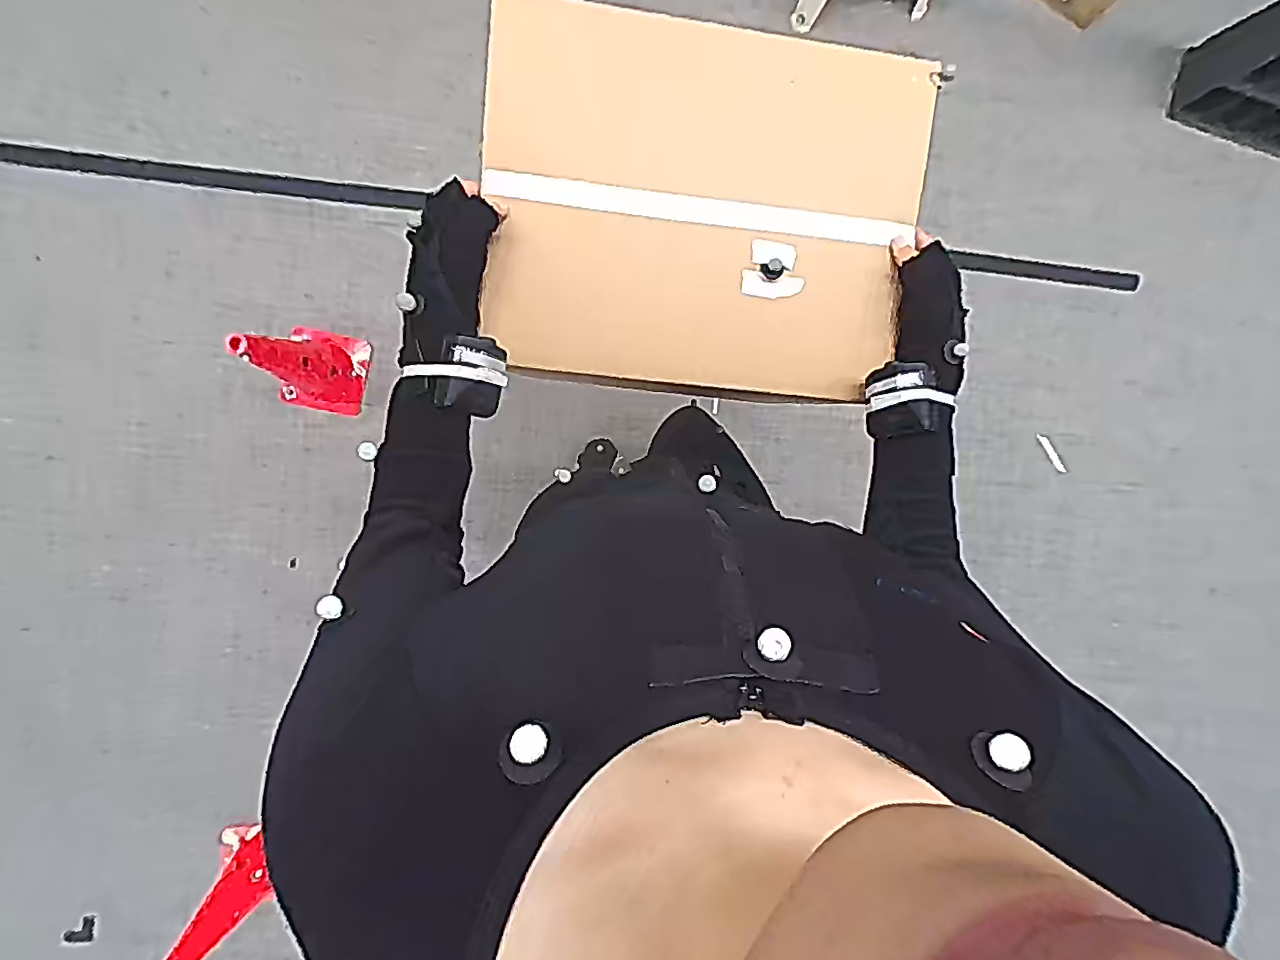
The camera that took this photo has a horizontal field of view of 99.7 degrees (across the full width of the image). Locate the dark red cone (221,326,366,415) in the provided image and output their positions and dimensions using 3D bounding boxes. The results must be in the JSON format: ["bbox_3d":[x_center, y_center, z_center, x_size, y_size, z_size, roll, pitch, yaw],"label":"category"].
[{"bbox_3d":[-0.785,-0.270,1.199,0.201,0.394,0.202,11,91,-6],"label":"dark red cone"}]

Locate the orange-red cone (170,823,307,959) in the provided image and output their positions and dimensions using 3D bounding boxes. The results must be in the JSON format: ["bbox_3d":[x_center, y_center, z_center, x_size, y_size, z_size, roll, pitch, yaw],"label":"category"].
[{"bbox_3d":[-0.971,1.016,1.259,0.198,0.360,0.199,2,93,-4],"label":"orange-red cone"}]

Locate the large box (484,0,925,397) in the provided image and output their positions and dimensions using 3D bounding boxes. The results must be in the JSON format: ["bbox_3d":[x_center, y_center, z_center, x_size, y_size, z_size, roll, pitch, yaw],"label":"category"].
[{"bbox_3d":[0.046,-0.273,0.652,0.408,0.320,0.320,5,98,-6],"label":"large box"}]
